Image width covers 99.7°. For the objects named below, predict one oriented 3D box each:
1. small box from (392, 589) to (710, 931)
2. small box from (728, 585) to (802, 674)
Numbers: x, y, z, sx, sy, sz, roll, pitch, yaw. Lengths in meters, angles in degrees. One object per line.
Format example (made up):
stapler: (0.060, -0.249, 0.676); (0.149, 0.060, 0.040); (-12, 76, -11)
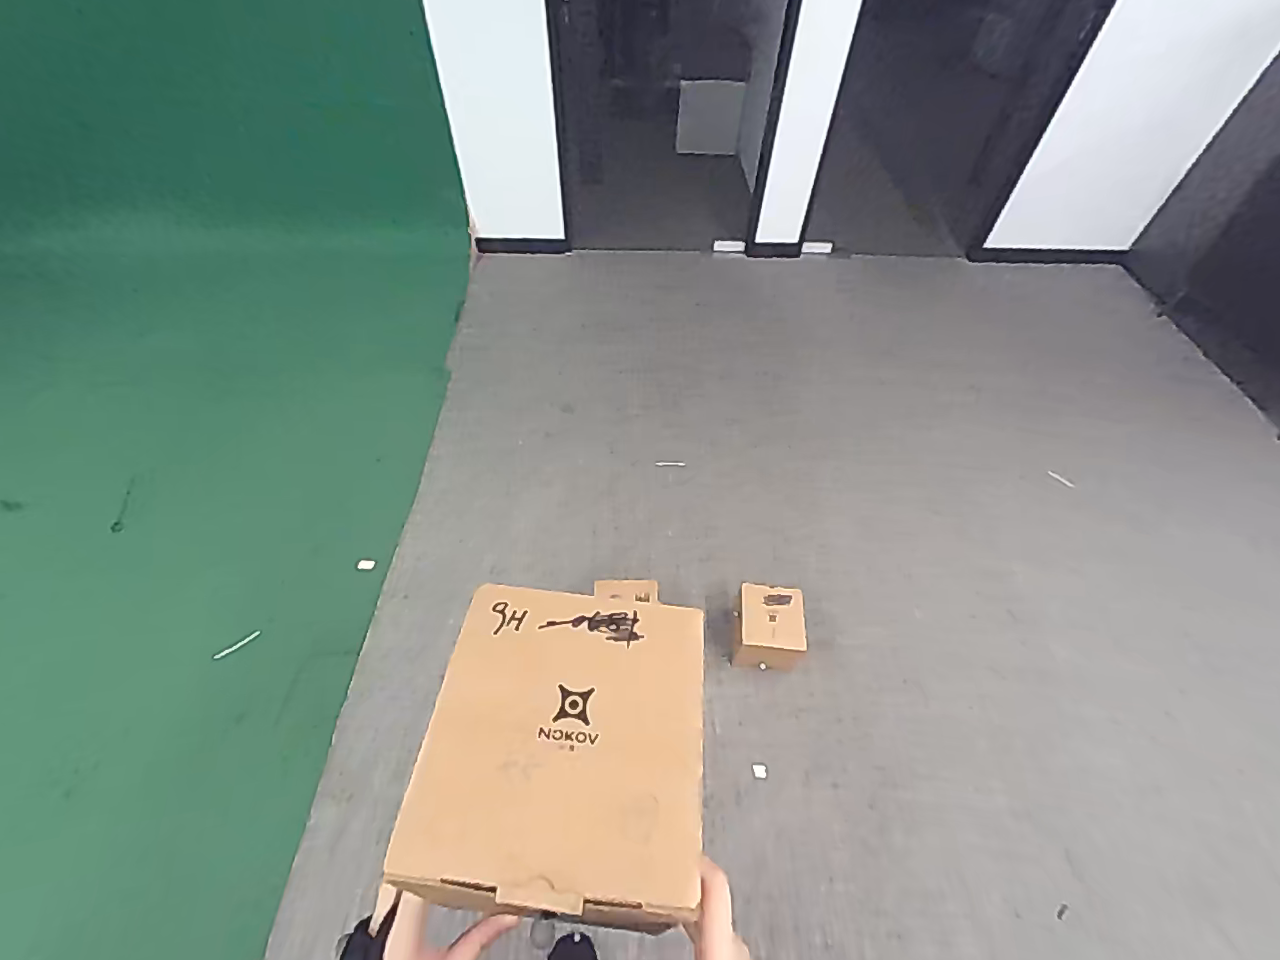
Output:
small box: (-0.046, 0.205, 0.391); (0.168, 0.176, 0.179); (8, 49, -1)
small box: (0.335, 0.411, 1.482); (0.168, 0.176, 0.179); (6, 53, 2)
